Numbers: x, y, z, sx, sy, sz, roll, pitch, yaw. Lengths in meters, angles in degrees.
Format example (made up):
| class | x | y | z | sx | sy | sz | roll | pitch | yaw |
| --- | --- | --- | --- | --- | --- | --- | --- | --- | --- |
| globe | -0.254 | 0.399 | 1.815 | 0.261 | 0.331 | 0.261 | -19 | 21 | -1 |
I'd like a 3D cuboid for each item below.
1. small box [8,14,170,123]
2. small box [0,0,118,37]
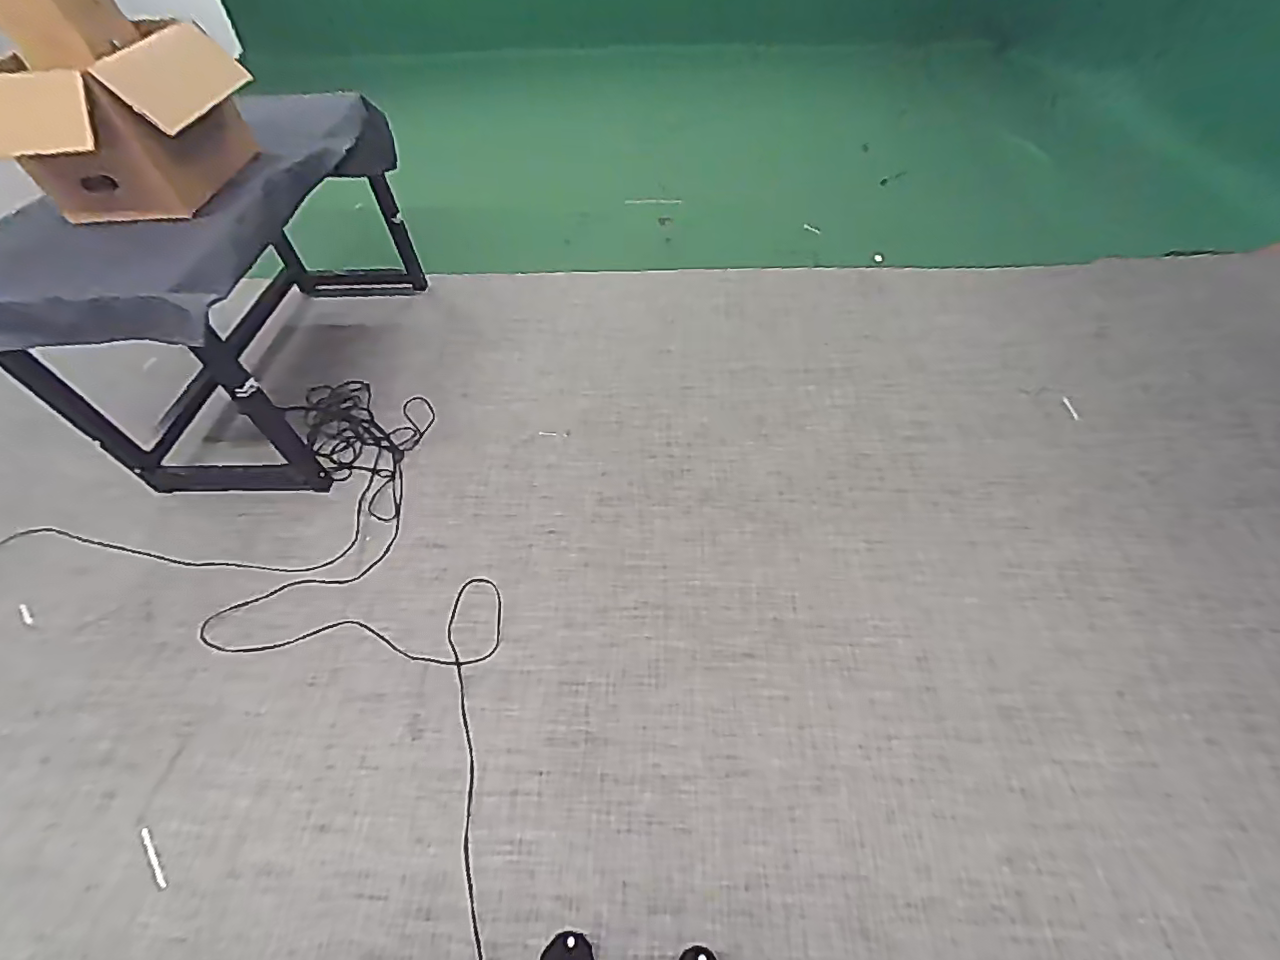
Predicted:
| class | x | y | z | sx | sy | sz | roll | pitch | yaw |
| --- | --- | --- | --- | --- | --- | --- | --- | --- | --- |
| small box | -1.269 | -0.962 | 1.268 | 0.168 | 0.176 | 0.179 | -1 | 52 | 2 |
| small box | -1.284 | -1.062 | 1.140 | 0.179 | 0.176 | 0.168 | -1 | 51 | 4 |
